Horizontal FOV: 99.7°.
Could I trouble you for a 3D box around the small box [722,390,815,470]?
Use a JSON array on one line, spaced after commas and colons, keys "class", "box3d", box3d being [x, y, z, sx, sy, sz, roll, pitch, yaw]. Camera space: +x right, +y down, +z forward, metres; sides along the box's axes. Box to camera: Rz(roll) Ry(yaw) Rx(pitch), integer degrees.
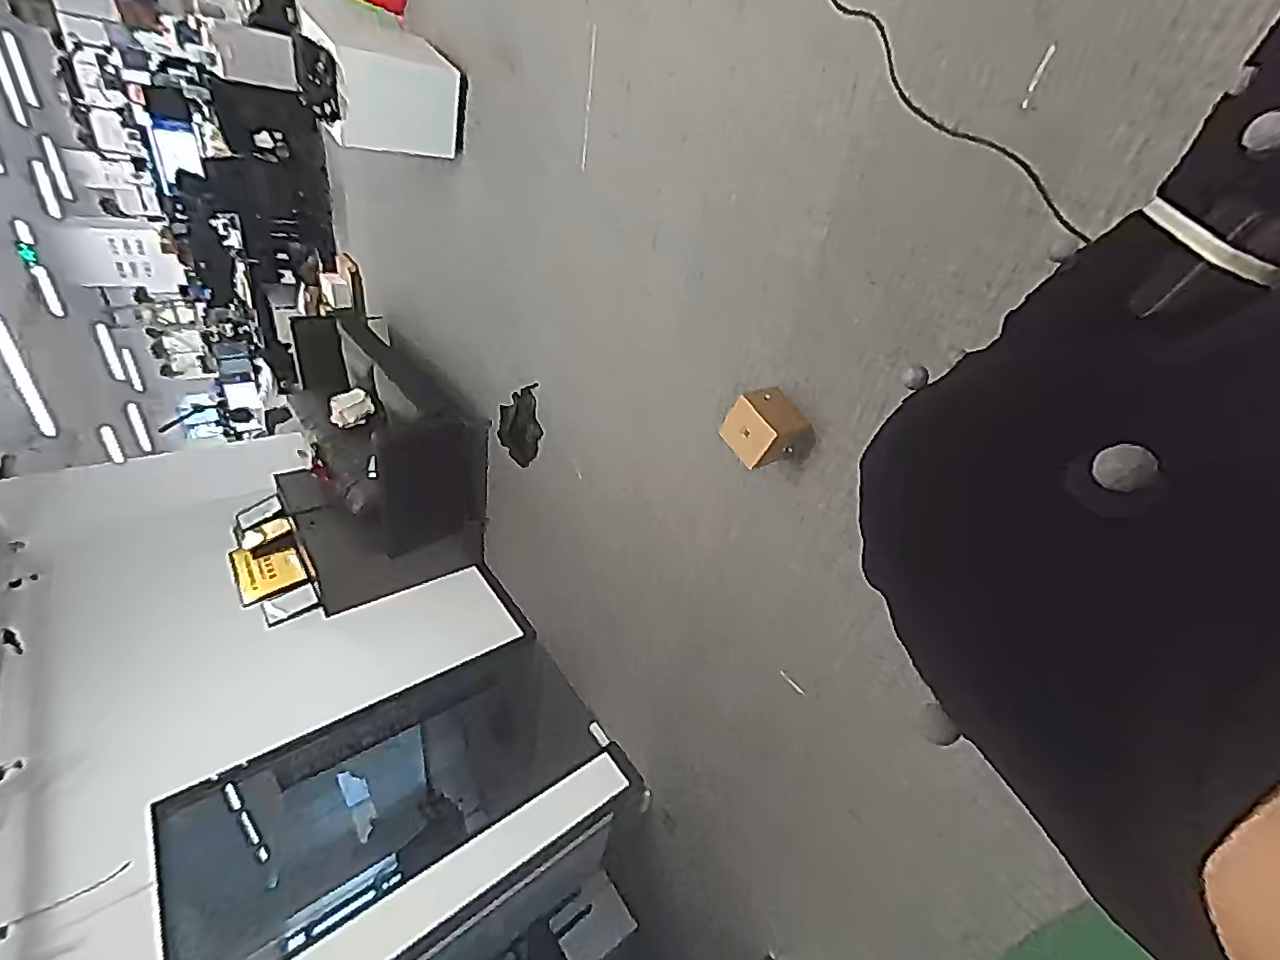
[{"class": "small box", "box3d": [0.394, -0.160, 1.659, 0.179, 0.176, 0.168, 54, 140, 24]}]
